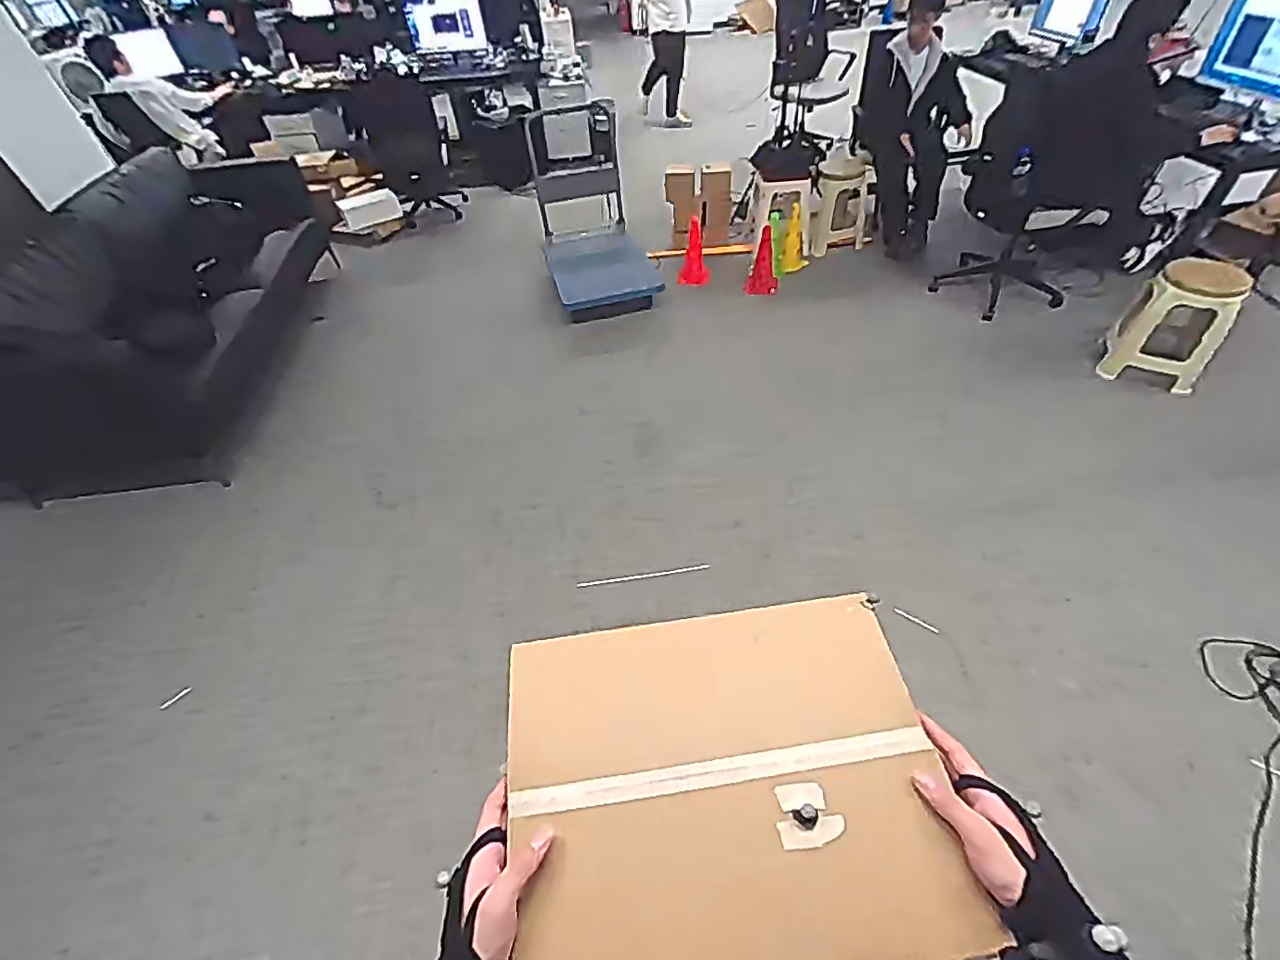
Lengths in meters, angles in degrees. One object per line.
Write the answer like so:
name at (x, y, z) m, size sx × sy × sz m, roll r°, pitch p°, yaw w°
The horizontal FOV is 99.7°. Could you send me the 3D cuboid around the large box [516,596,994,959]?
large box at (0.083, 0.374, 0.641) m, size 0.408 × 0.320 × 0.320 m, roll -8°, pitch 51°, yaw -3°
